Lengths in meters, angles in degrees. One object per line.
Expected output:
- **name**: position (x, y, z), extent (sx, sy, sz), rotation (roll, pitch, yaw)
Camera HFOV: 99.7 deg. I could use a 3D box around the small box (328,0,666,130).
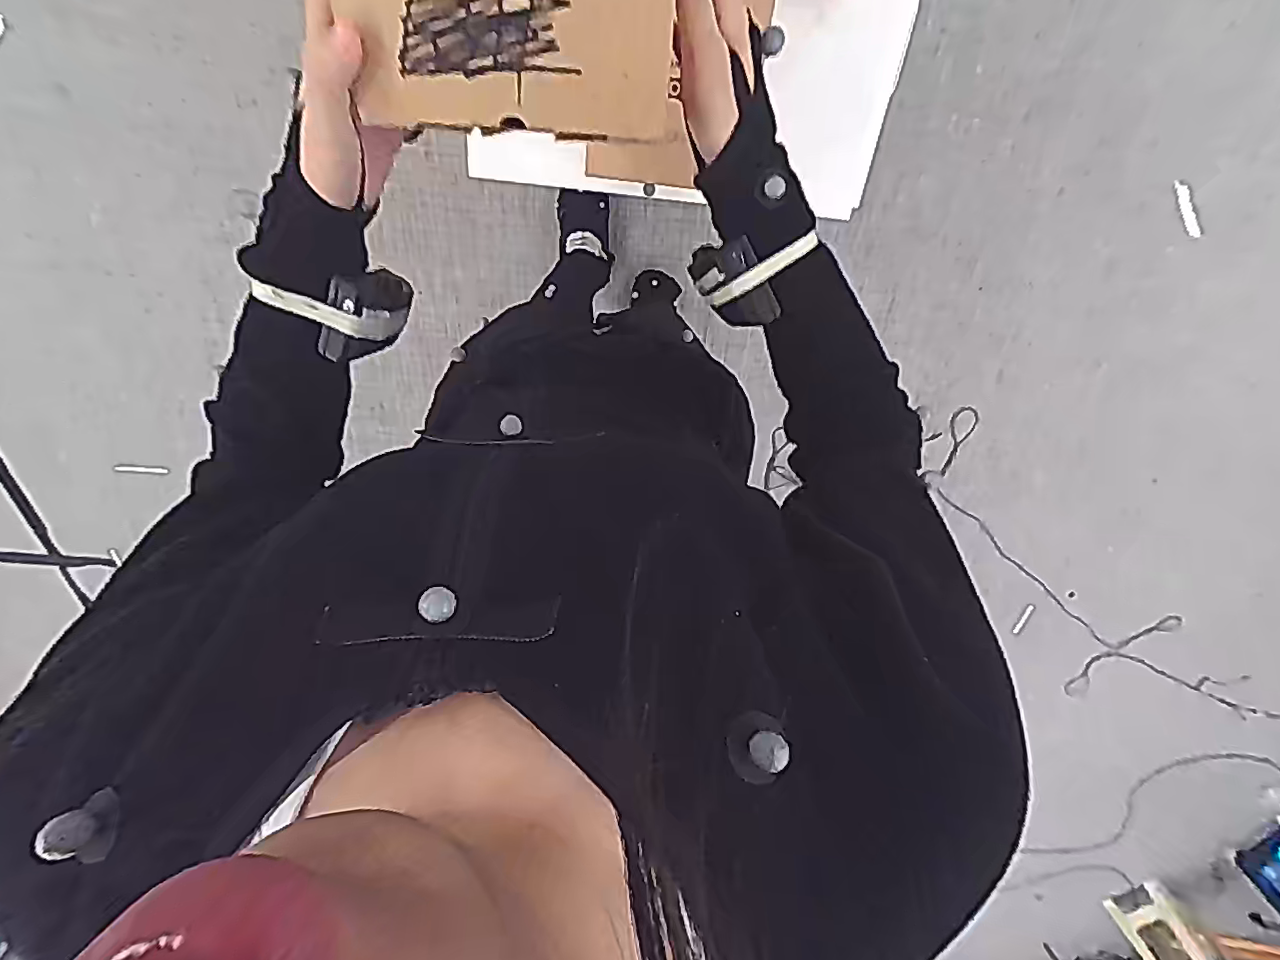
- **small box**: position (-0.064, -0.314, 0.294), extent (0.168, 0.176, 0.179), rotation (3, 131, -2)
